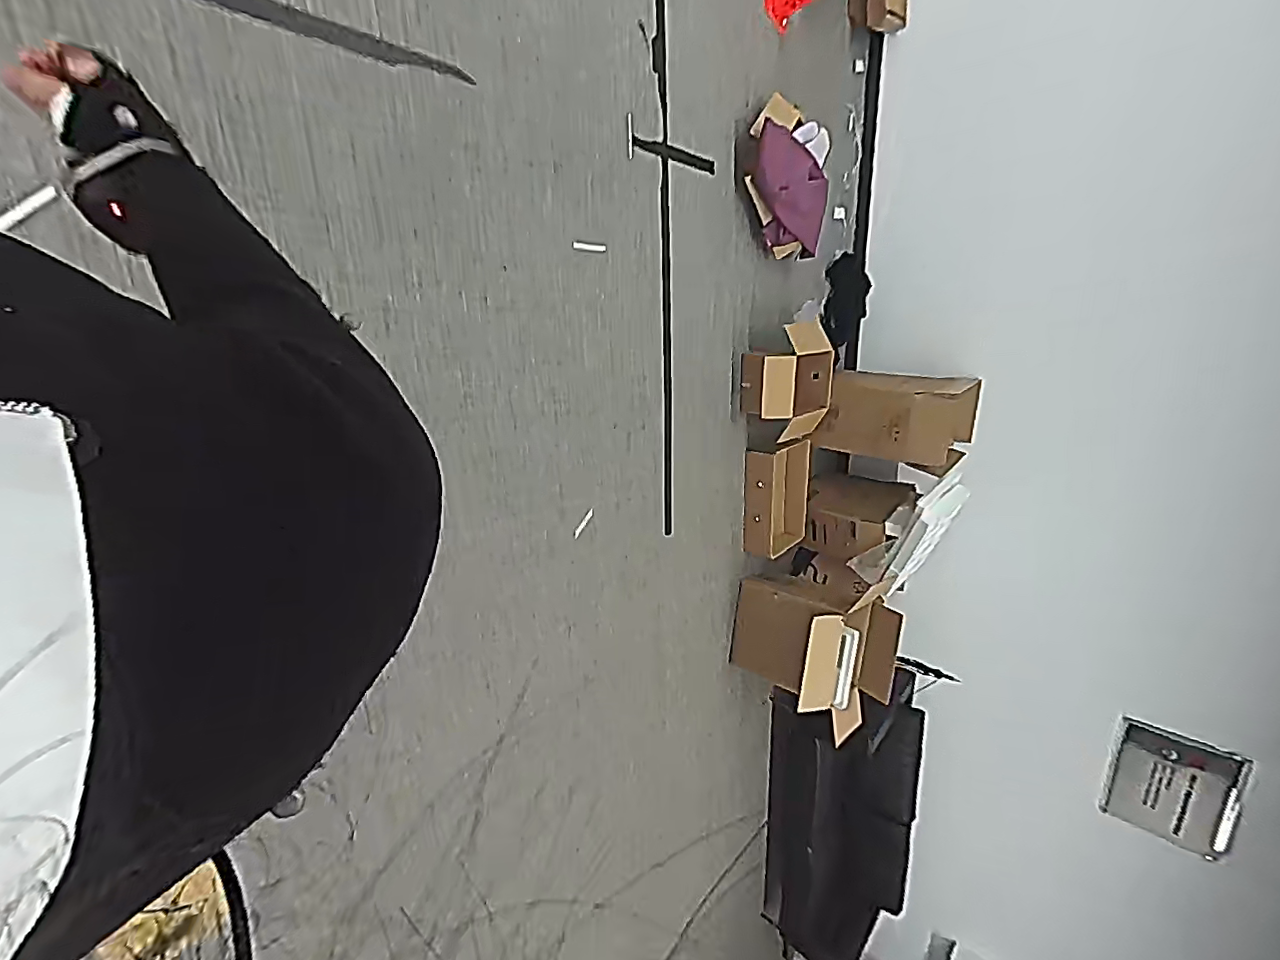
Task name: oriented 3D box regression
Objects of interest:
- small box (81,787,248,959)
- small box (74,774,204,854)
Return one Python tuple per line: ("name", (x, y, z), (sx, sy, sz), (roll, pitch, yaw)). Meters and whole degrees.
("small box", (-0.798, 0.671, 0.912), (0.168, 0.176, 0.179), (-23, 116, -43))
("small box", (-0.921, 0.638, 1.016), (0.168, 0.176, 0.179), (-21, 115, -44))
